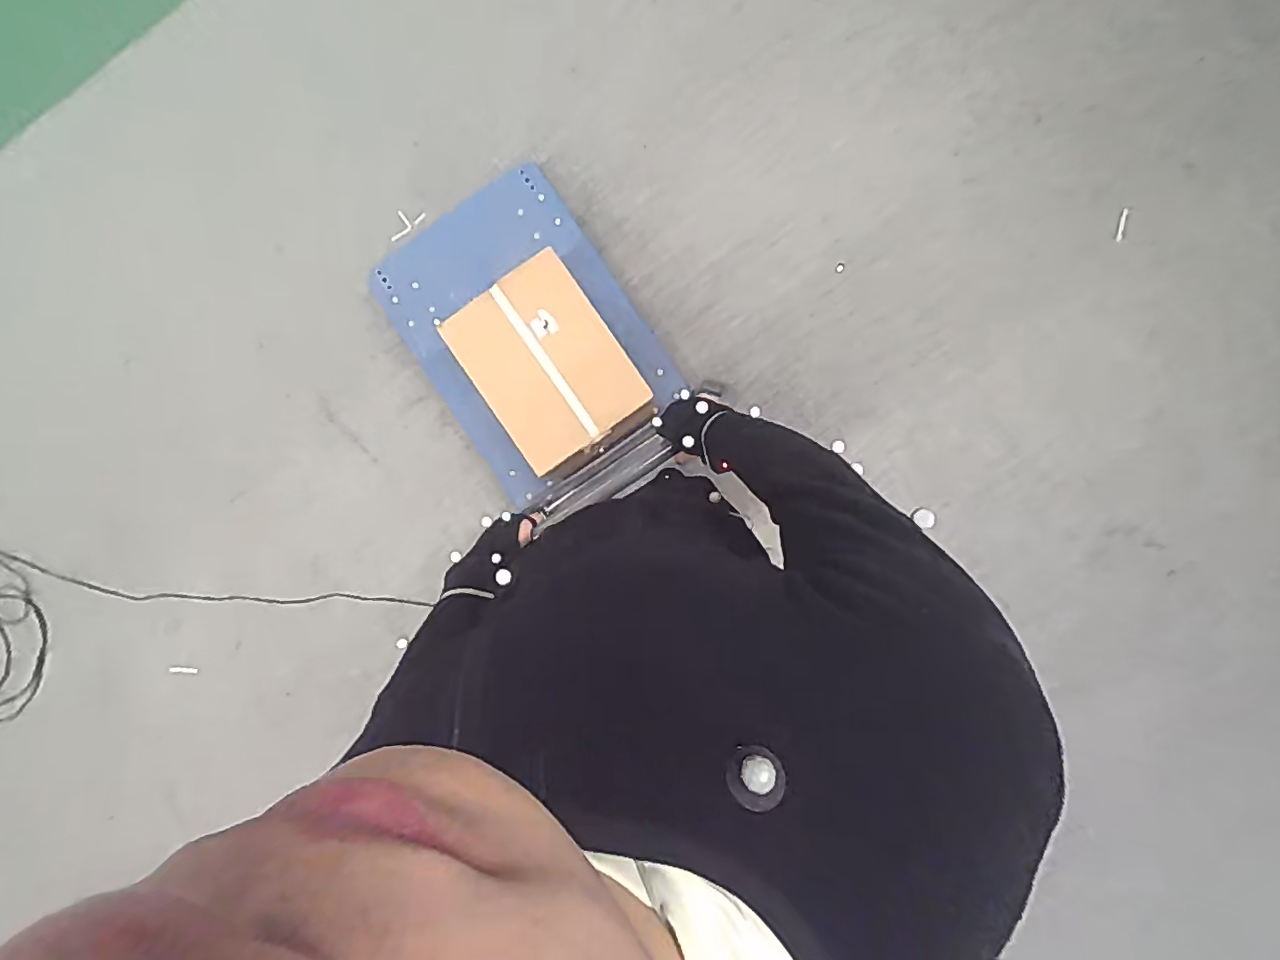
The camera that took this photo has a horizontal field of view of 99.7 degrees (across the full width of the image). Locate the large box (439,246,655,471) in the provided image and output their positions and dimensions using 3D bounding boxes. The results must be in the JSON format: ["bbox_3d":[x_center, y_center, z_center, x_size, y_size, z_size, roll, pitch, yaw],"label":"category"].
[{"bbox_3d":[-0.200,-0.268,1.328,0.320,0.320,0.408,-35,89,1],"label":"large box"}]
